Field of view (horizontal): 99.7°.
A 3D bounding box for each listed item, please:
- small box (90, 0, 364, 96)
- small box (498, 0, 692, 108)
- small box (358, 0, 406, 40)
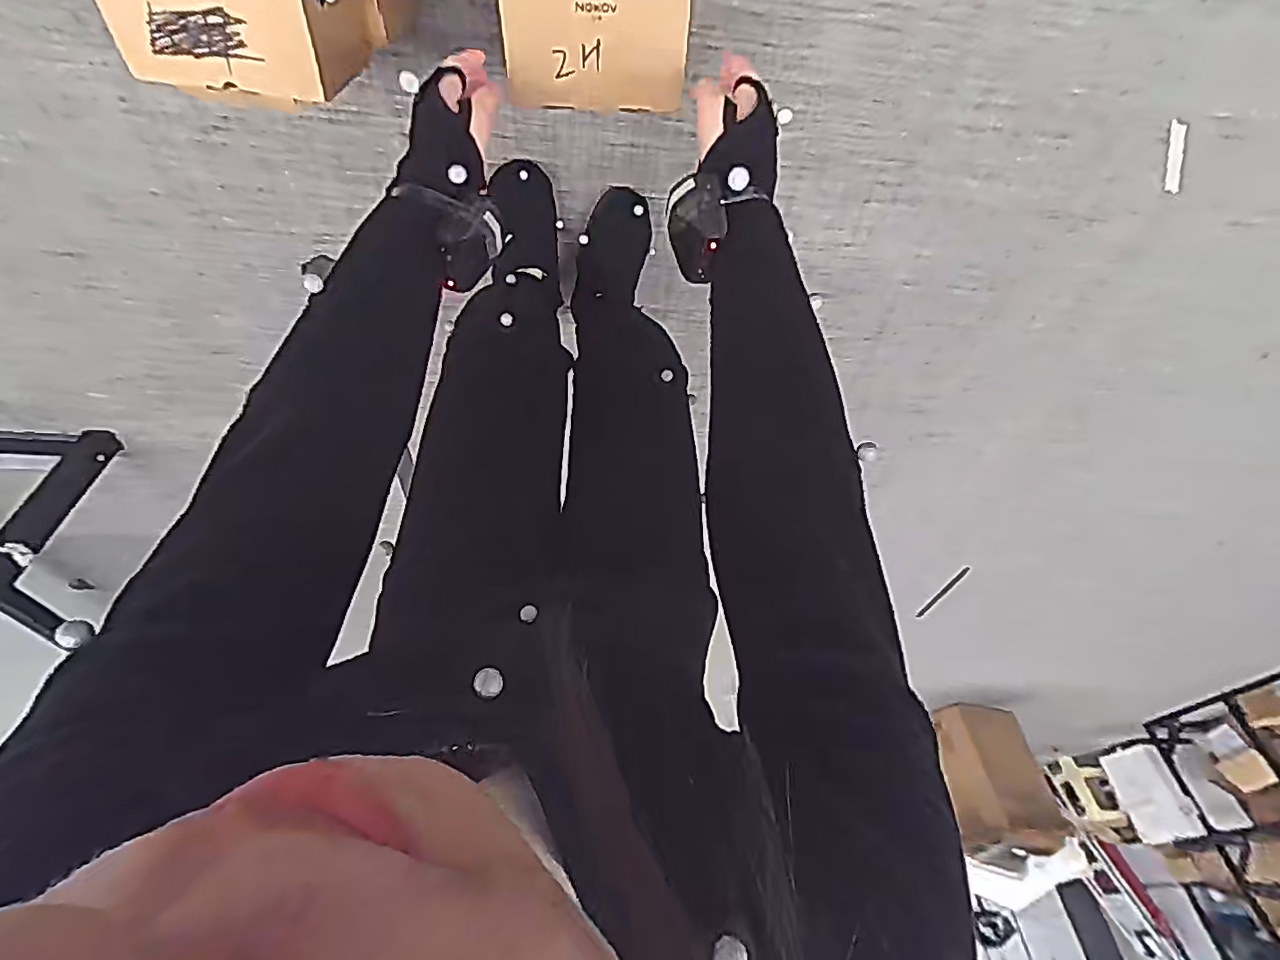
[{"bbox_3d":[-0.364,-0.474,0.473,0.168,0.176,0.179,2,139,-8],"label":"small box"},{"bbox_3d":[-0.041,-0.473,0.496,0.168,0.176,0.179,0,141,-3],"label":"small box"},{"bbox_3d":[-0.363,-0.601,0.577,0.179,0.176,0.168,1,140,-6],"label":"small box"}]
